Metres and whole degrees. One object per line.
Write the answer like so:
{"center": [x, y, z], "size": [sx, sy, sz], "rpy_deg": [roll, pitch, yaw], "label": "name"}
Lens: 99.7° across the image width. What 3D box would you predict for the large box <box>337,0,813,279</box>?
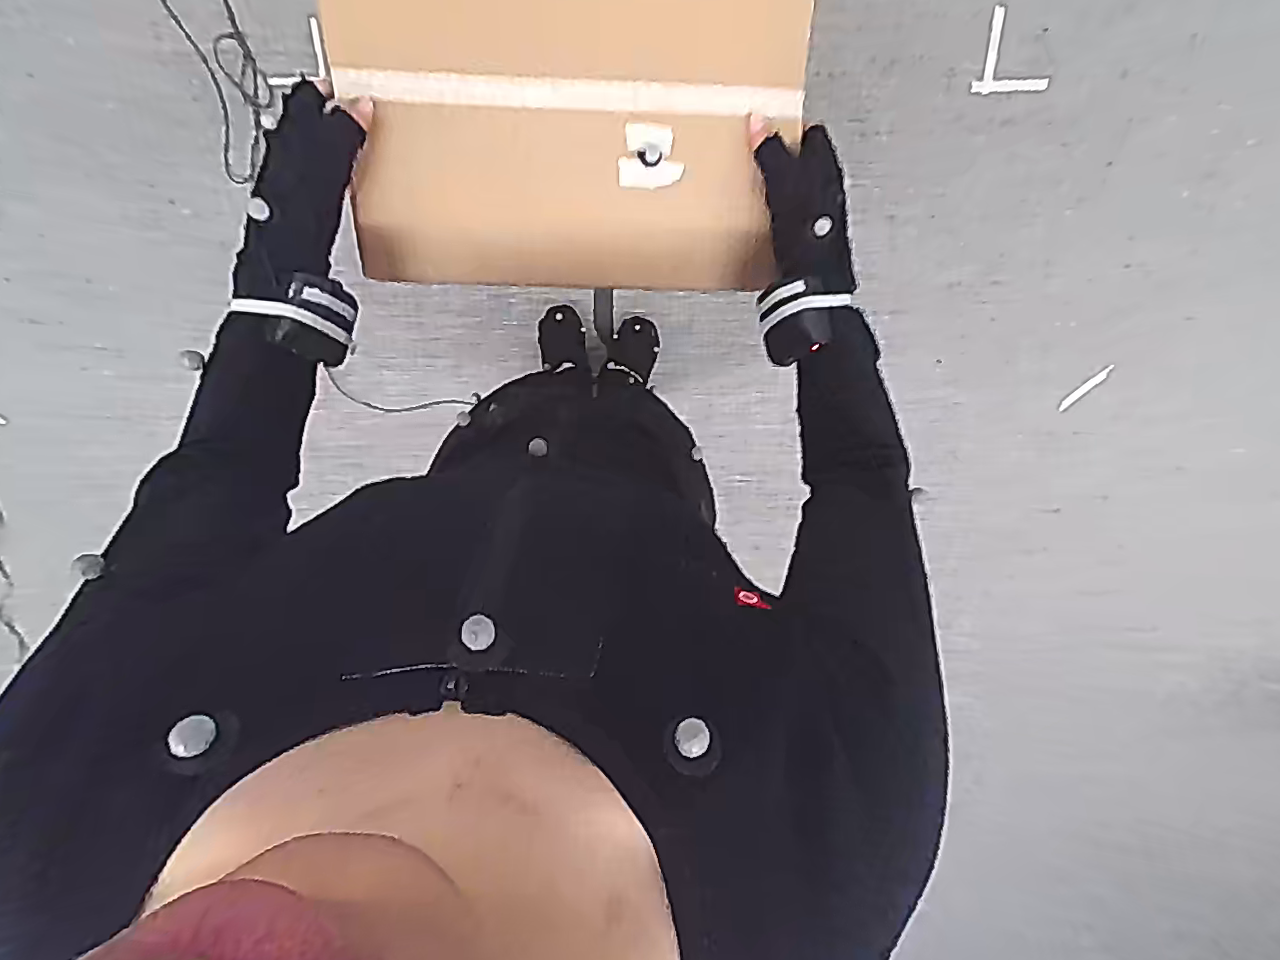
{"center": [-0.062, -0.397, 0.609], "size": [0.408, 0.320, 0.320], "rpy_deg": [-1, 112, -4], "label": "large box"}
